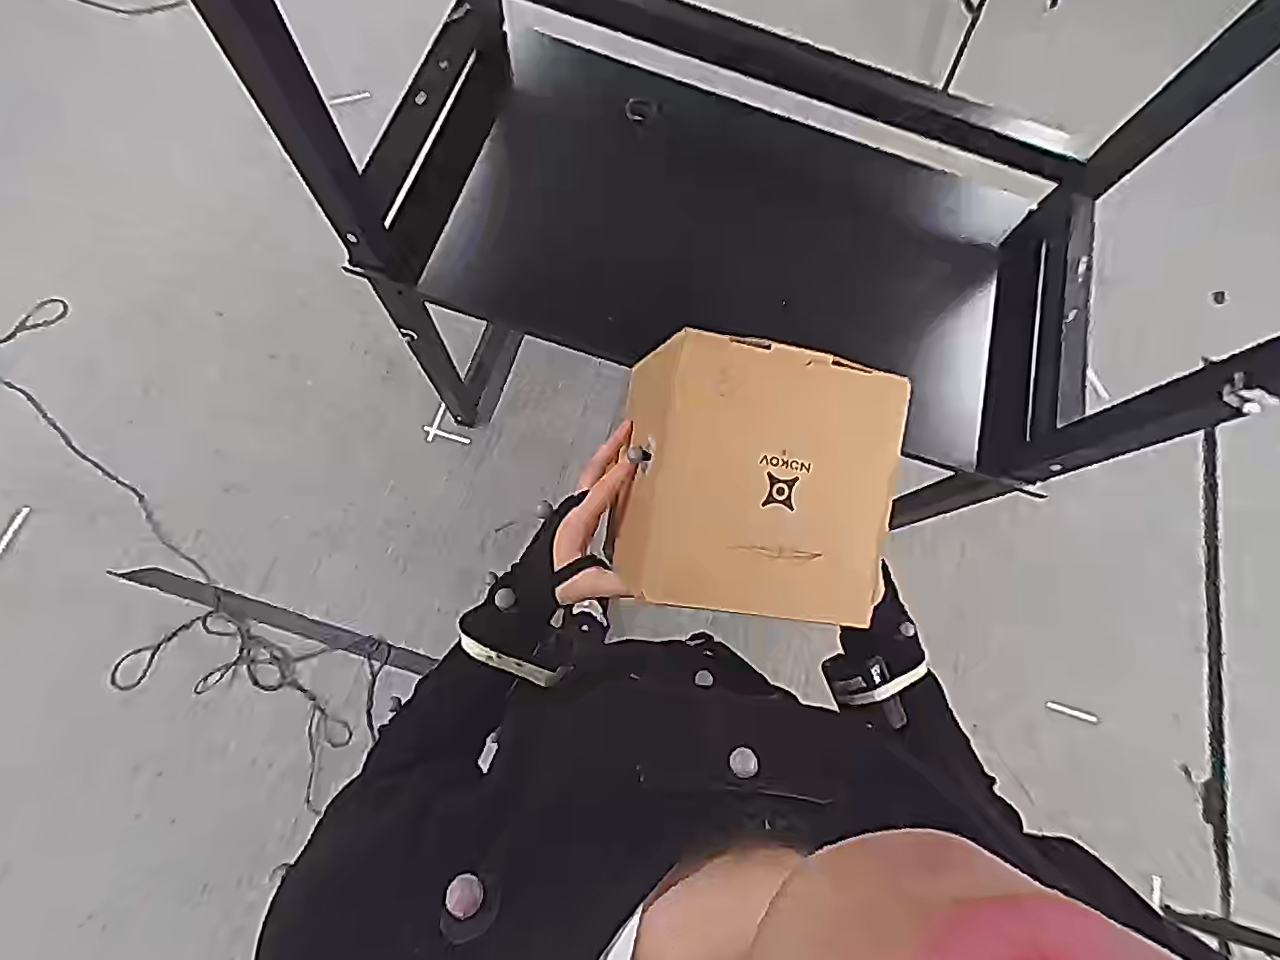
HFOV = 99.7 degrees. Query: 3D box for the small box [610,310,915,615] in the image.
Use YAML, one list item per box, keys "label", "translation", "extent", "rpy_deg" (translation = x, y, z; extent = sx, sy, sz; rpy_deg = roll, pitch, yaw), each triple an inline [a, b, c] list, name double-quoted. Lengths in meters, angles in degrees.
- label: "small box"
  translation: [0.076, -0.011, 0.422]
  extent: [0.168, 0.176, 0.179]
  rpy_deg: [9, 92, -11]
